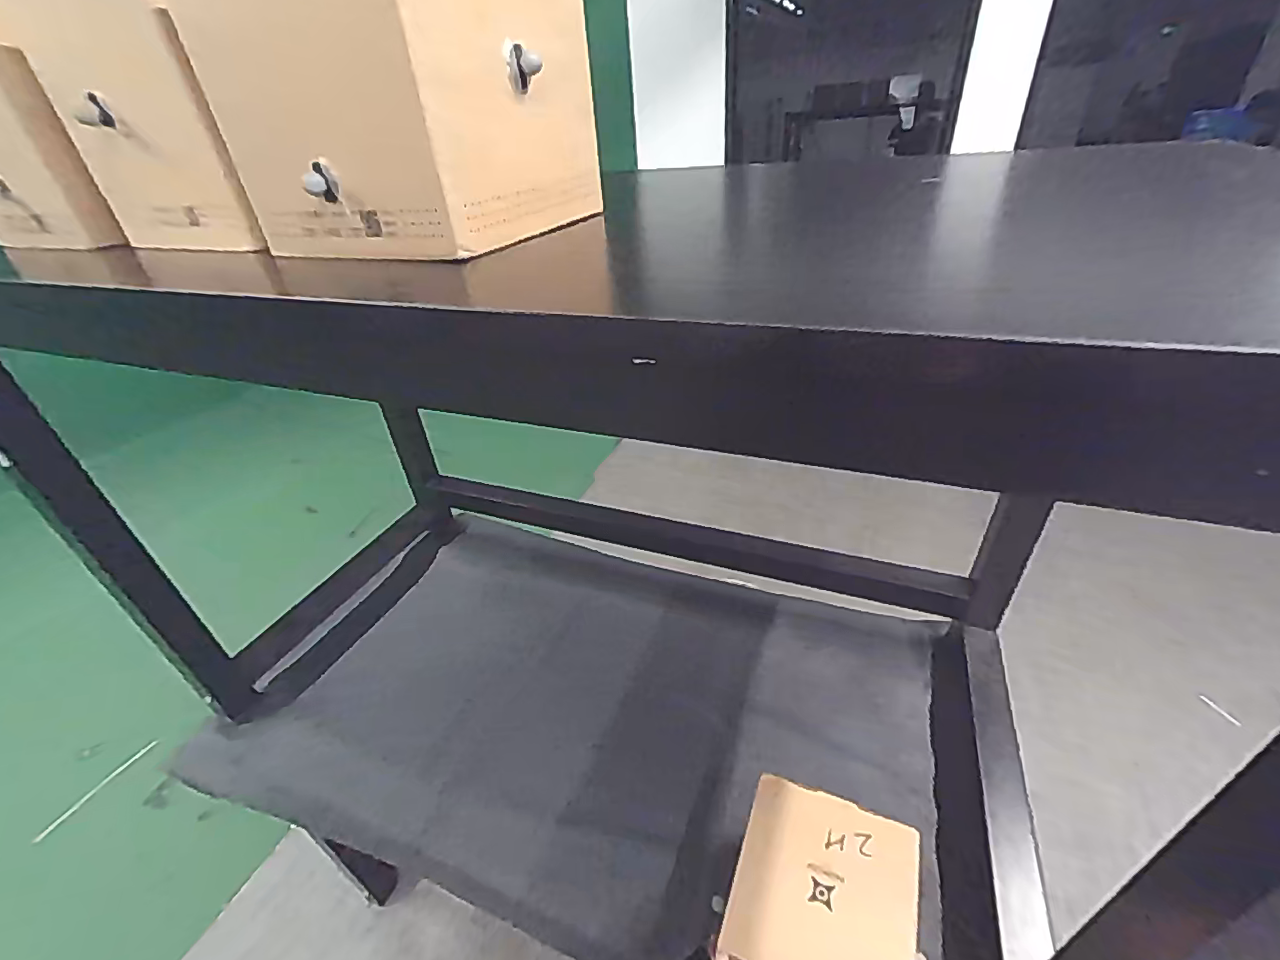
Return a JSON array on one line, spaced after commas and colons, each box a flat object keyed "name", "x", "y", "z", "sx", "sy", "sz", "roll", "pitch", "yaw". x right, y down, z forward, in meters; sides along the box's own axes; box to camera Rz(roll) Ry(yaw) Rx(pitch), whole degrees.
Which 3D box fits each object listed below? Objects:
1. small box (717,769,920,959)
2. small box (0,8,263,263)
[{"name": "small box", "x": 0.187, "y": 0.458, "z": 0.572, "sx": 0.168, "sy": 0.176, "sz": 0.179, "roll": 11, "pitch": 37, "yaw": 22}, {"name": "small box", "x": -0.498, "y": -0.314, "z": 0.505, "sx": 0.168, "sy": 0.176, "sz": 0.179, "roll": 11, "pitch": 38, "yaw": 22}]
